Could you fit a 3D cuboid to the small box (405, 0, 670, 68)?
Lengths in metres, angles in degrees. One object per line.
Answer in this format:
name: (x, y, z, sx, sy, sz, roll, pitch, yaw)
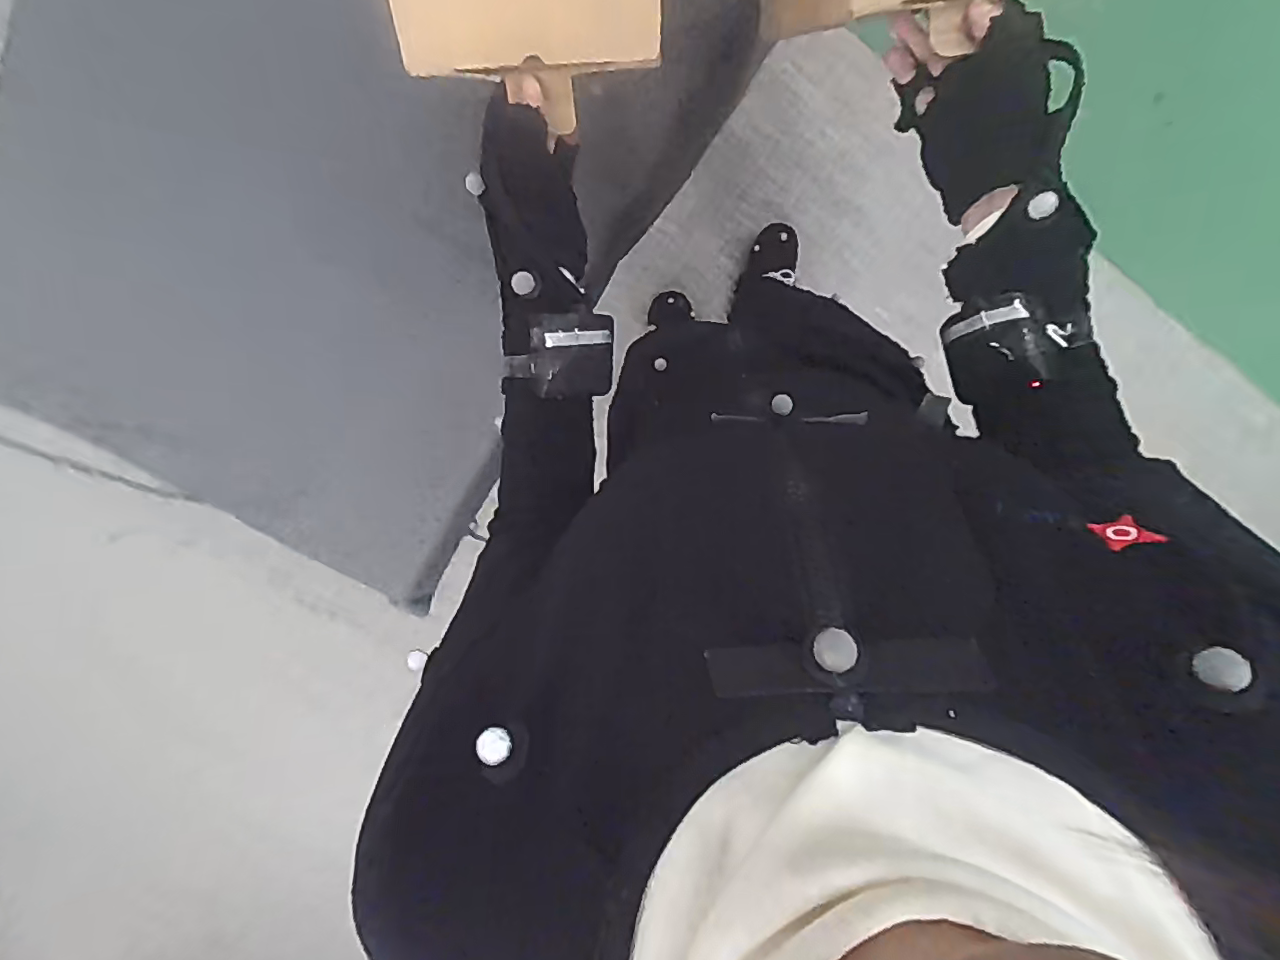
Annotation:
small box: (-0.063, -0.386, 0.360, 0.168, 0.176, 0.179, -2, 126, 0)
